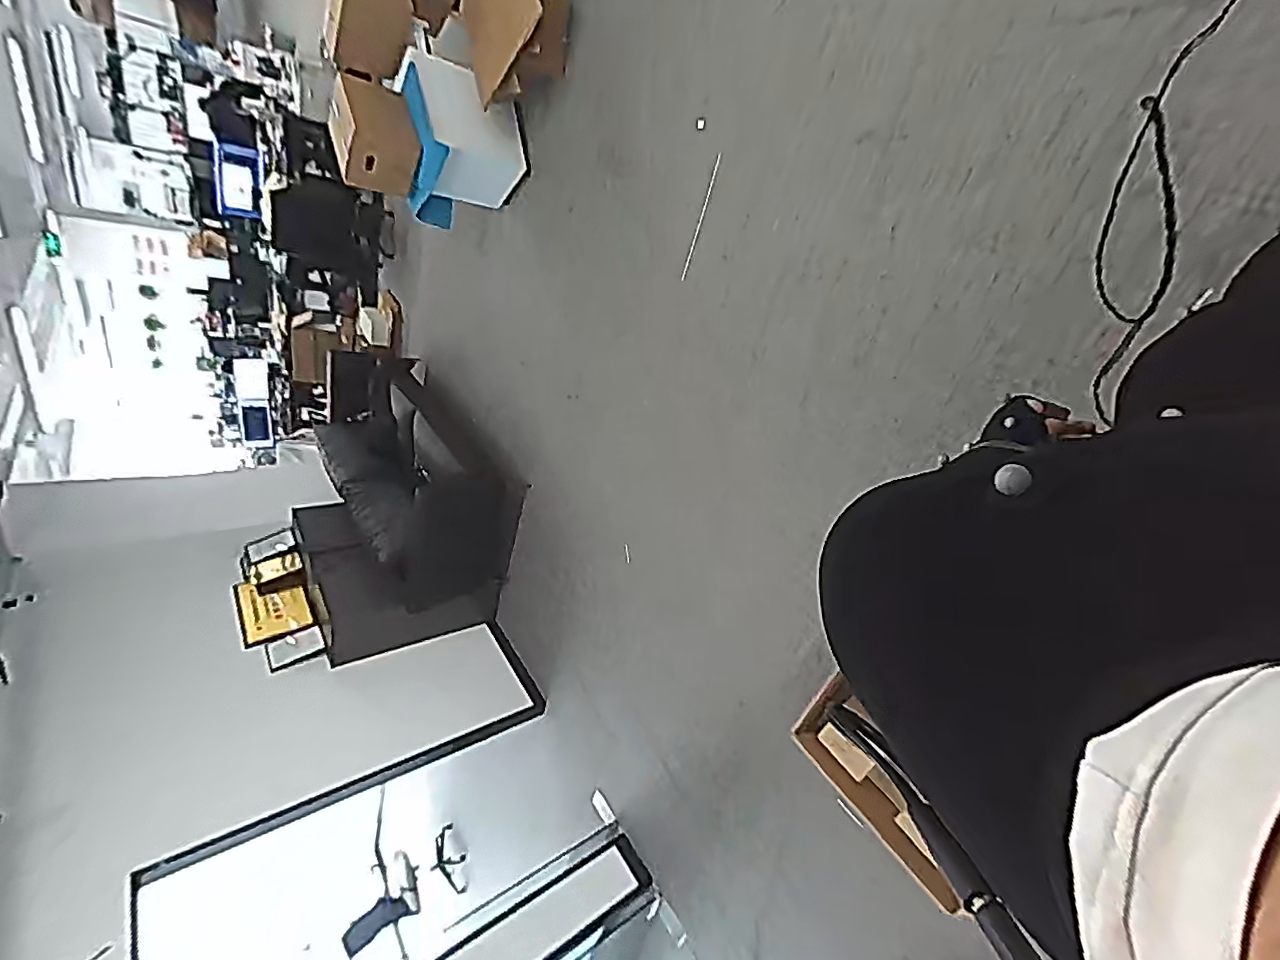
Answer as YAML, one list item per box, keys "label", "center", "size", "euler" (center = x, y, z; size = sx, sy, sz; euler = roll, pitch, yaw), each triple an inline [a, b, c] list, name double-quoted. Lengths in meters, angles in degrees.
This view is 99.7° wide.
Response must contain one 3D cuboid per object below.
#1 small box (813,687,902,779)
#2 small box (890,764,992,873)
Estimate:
- label: "small box"
  center: [0.682, 0.780, 1.684]
  size: [0.168, 0.176, 0.179]
  euler: [46, 127, 36]
- label: "small box"
  center: [0.849, 0.939, 1.515]
  size: [0.168, 0.176, 0.179]
  euler: [45, 128, 37]
